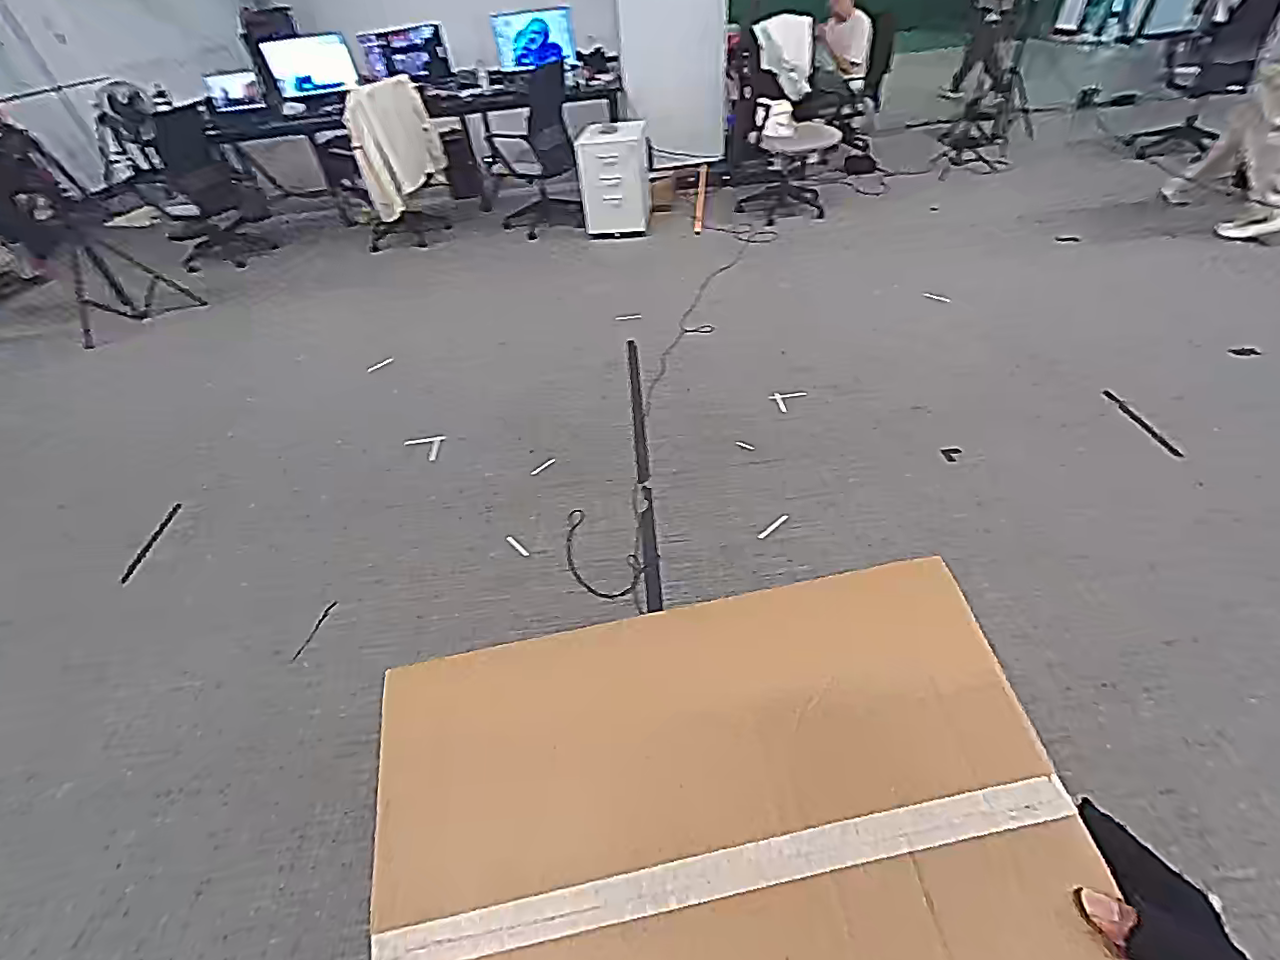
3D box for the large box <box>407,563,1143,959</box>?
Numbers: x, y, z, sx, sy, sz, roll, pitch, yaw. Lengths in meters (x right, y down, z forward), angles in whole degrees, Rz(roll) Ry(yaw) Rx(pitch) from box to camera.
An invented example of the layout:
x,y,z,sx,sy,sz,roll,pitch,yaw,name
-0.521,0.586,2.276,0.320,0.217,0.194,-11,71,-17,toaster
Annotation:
x,y,z,sx,sy,sz,roll,pitch,yaw,name
0.068,0.305,0.446,0.408,0.320,0.320,-11,60,-2,large box
